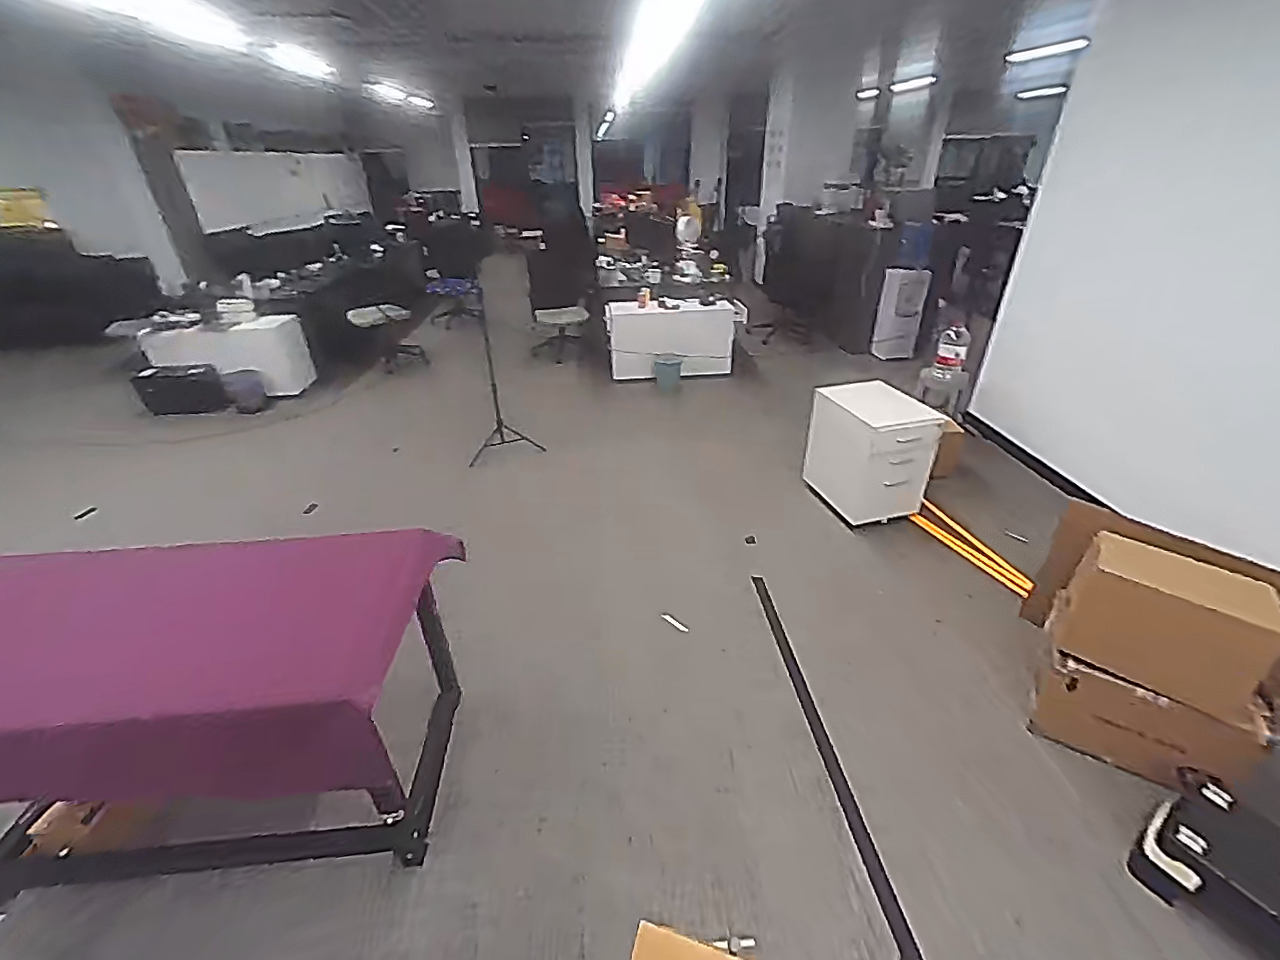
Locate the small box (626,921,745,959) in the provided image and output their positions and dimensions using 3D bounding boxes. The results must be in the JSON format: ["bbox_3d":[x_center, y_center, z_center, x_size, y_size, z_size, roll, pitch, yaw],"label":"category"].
[{"bbox_3d":[0.059,0.643,0.619,0.168,0.176,0.179,6,53,19],"label":"small box"}]
